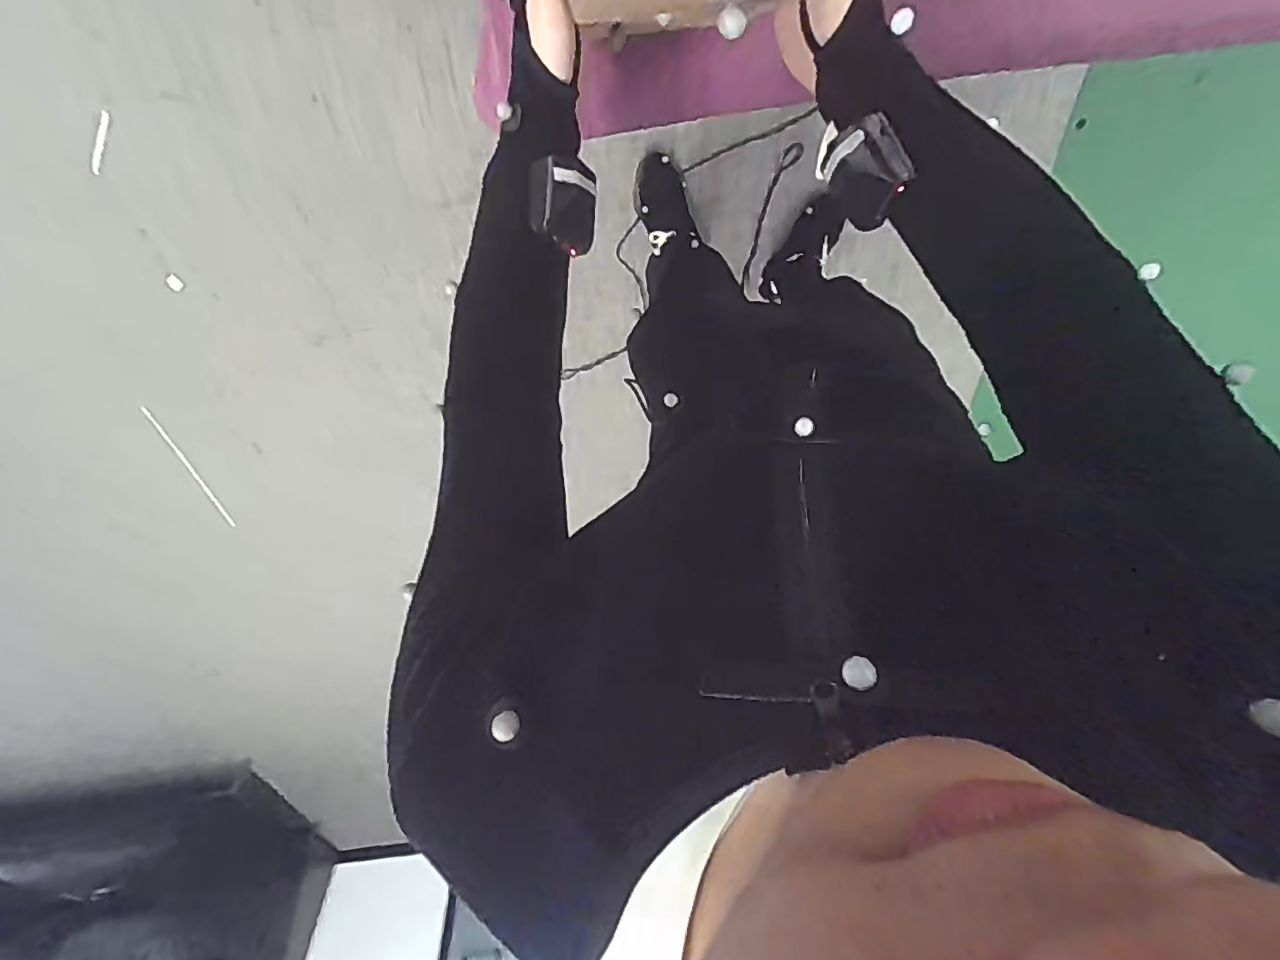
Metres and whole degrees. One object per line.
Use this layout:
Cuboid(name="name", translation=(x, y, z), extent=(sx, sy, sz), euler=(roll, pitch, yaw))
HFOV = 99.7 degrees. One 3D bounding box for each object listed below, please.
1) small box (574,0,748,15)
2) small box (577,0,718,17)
Cuboid(name="small box", translation=(0.021, -0.404, 0.319), extent=(0.168, 0.176, 0.179), euler=(-6, 127, -1))
Cuboid(name="small box", translation=(0.033, -0.296, 0.194), extent=(0.168, 0.176, 0.179), euler=(-7, 127, 1))
